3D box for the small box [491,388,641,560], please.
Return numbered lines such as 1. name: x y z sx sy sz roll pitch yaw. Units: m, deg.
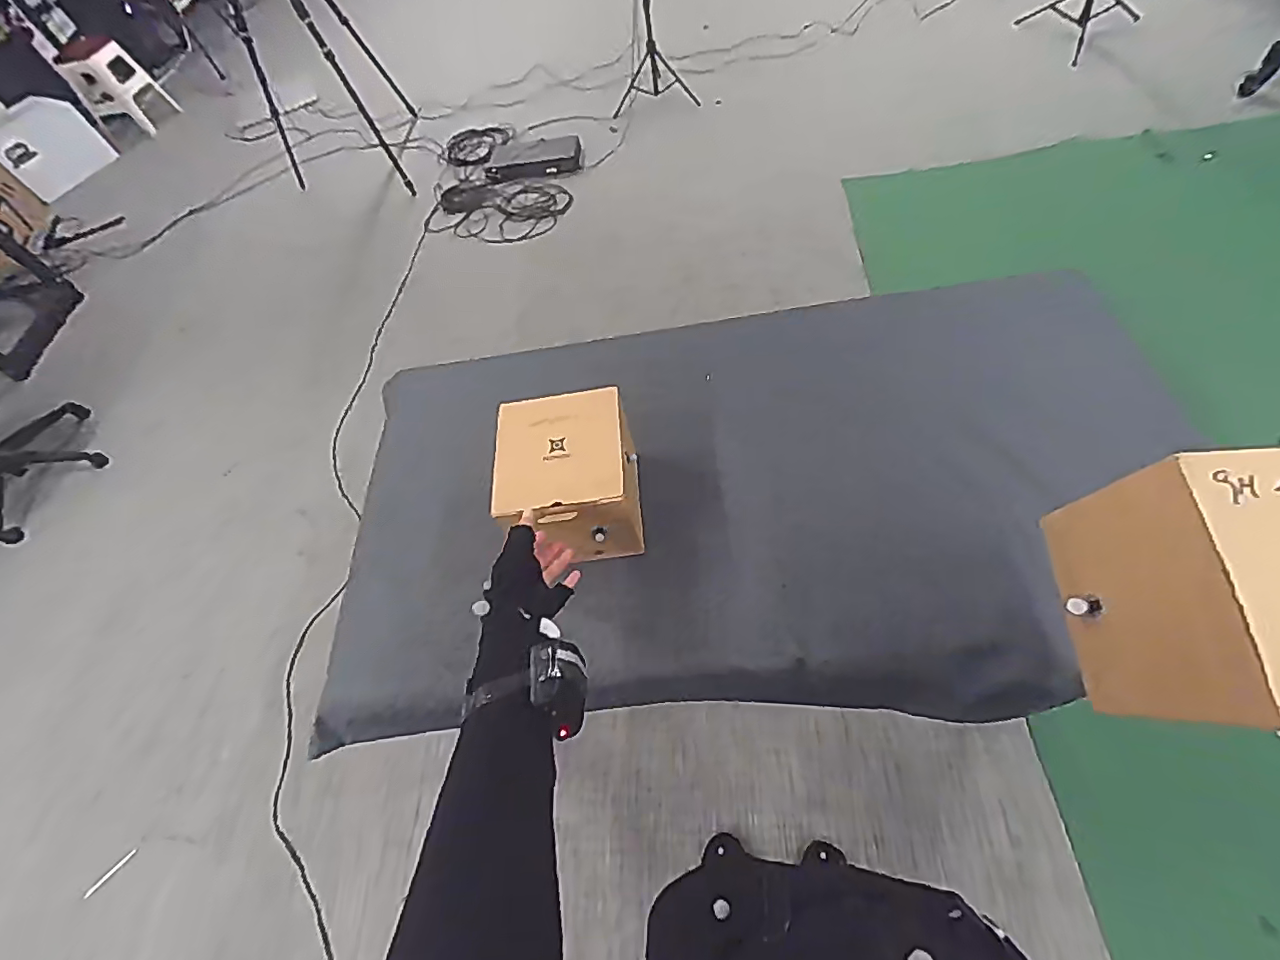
1. small box: -0.094 0.001 0.751 0.168 0.176 0.179 -8 57 4
